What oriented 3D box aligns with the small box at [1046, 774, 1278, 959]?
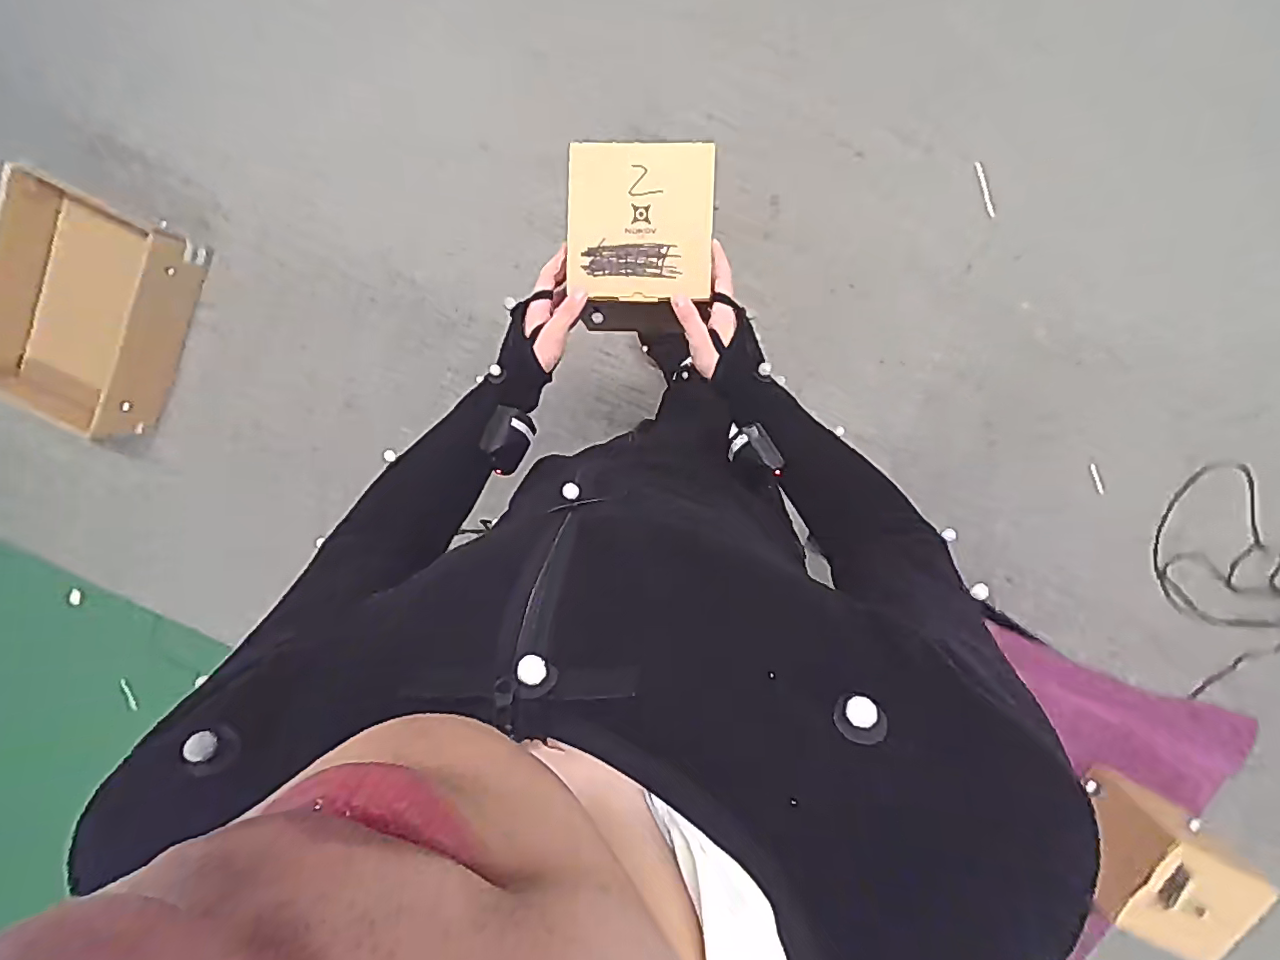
[{"bbox_3d":[0.828,0.622,0.883,0.179,0.176,0.168,27,102,-1],"label":"small box"}]
